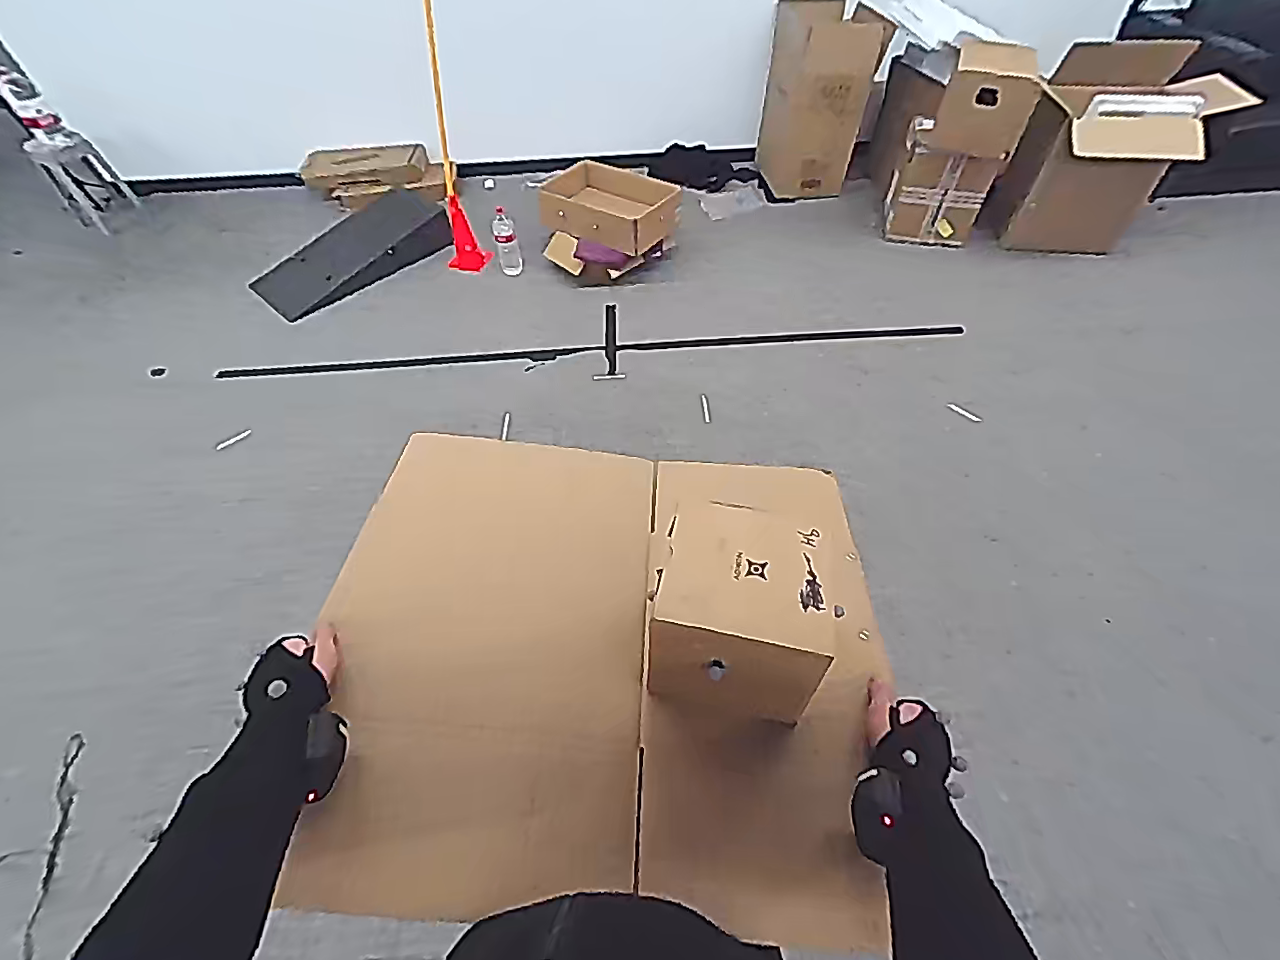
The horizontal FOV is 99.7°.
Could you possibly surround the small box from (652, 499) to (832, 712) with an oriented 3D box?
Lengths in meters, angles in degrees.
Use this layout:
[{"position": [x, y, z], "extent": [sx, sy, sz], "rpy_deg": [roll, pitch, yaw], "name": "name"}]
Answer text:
[{"position": [0.114, 0.147, 0.628], "extent": [0.179, 0.176, 0.168], "rpy_deg": [8, 47, 9], "name": "small box"}]
